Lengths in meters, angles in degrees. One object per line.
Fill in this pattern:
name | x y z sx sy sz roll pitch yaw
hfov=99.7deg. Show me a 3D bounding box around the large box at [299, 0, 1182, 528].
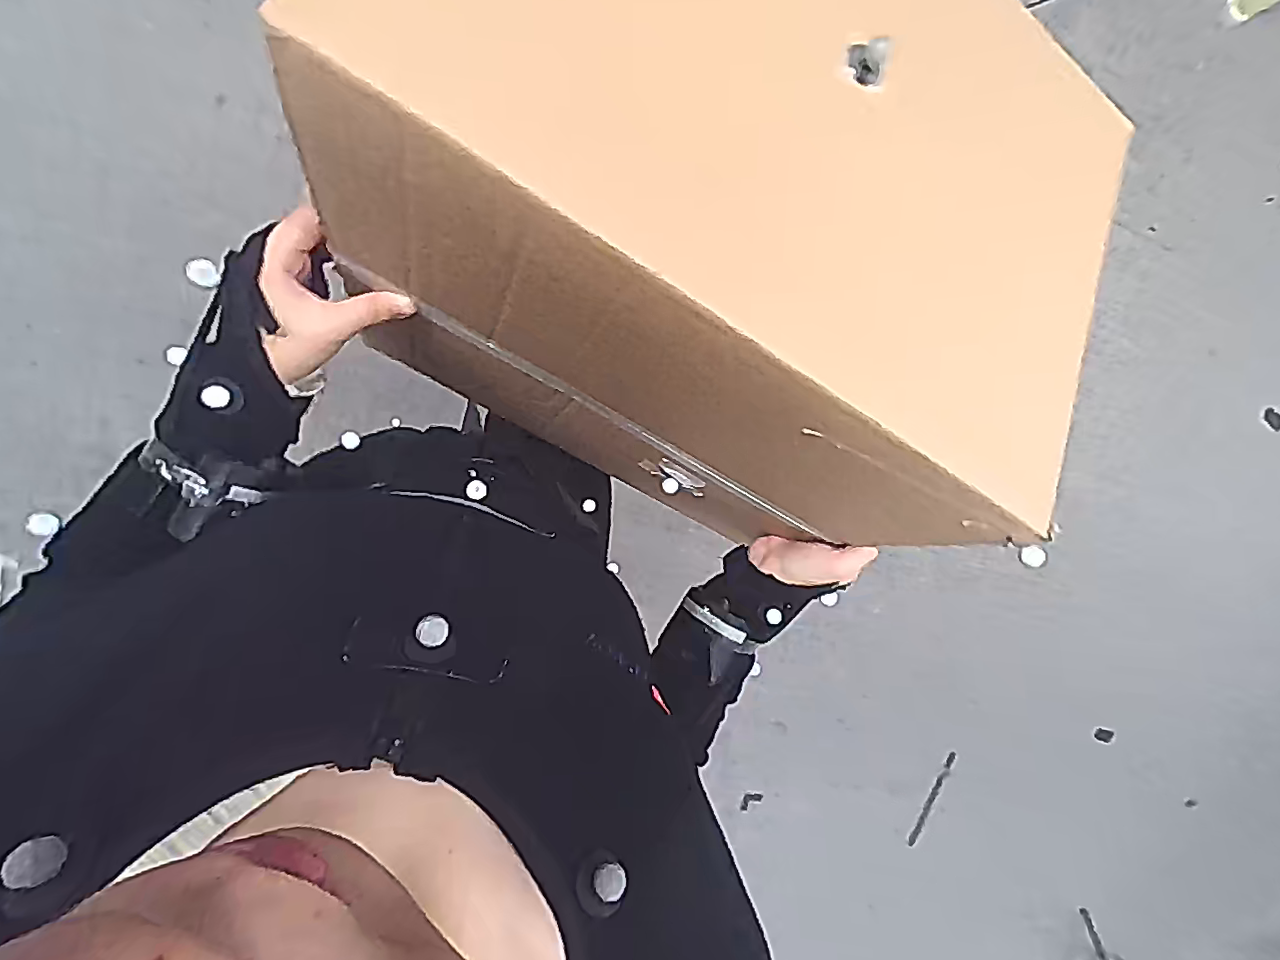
large box | 0.066 -0.192 0.386 0.408 0.320 0.320 27 75 -16
